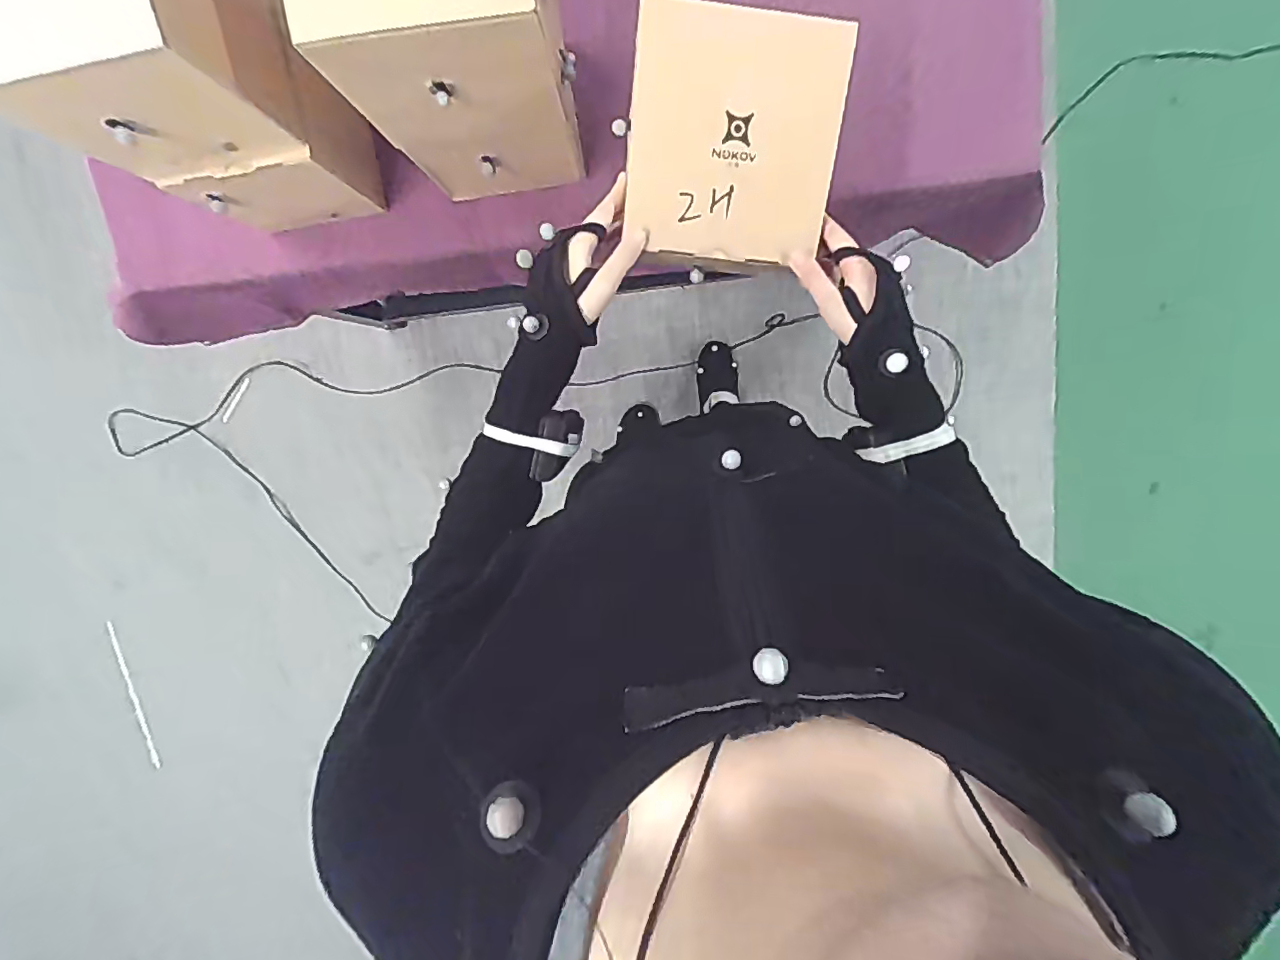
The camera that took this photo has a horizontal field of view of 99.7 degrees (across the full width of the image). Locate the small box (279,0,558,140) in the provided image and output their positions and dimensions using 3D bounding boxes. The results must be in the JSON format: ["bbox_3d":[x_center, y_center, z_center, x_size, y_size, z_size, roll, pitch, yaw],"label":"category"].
[{"bbox_3d":[-0.168,-0.407,0.438,0.179,0.176,0.168,-7,100,2],"label":"small box"}]

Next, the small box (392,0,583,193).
[{"bbox_3d":[-0.168,-0.440,0.599,0.179,0.176,0.168,-7,100,2],"label":"small box"}]

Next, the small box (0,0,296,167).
[{"bbox_3d":[-0.427,-0.386,0.446,0.168,0.176,0.179,-11,98,2],"label":"small box"}]

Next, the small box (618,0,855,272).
[{"bbox_3d":[0.068,-0.295,0.497,0.168,0.176,0.179,5,110,-3],"label":"small box"}]
